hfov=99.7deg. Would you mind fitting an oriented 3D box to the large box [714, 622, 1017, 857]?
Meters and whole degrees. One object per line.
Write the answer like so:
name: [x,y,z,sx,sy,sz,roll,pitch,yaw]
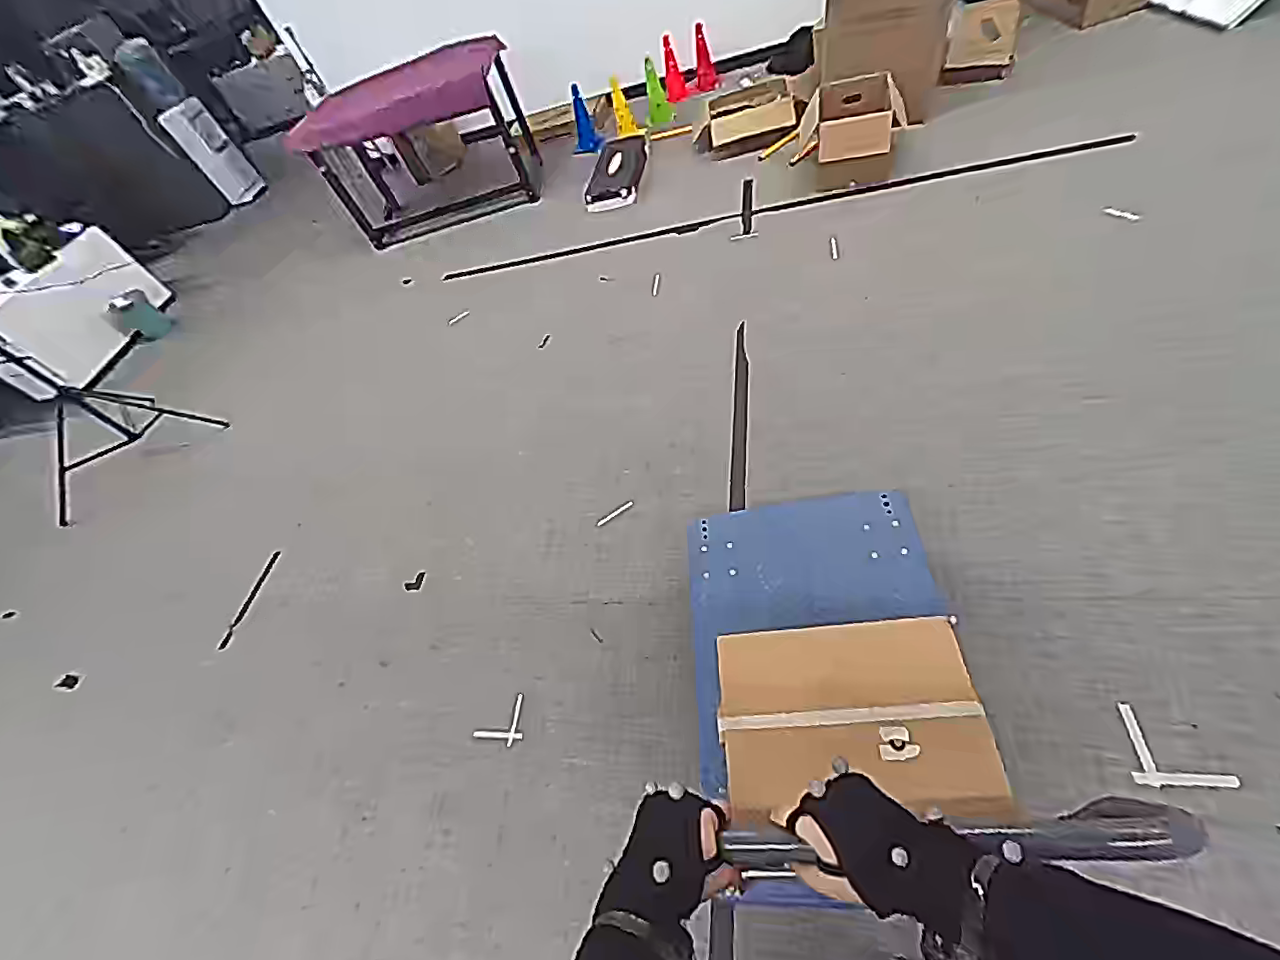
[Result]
large box: [0.365,0.484,0.985,0.408,0.320,0.320,-9,51,11]
